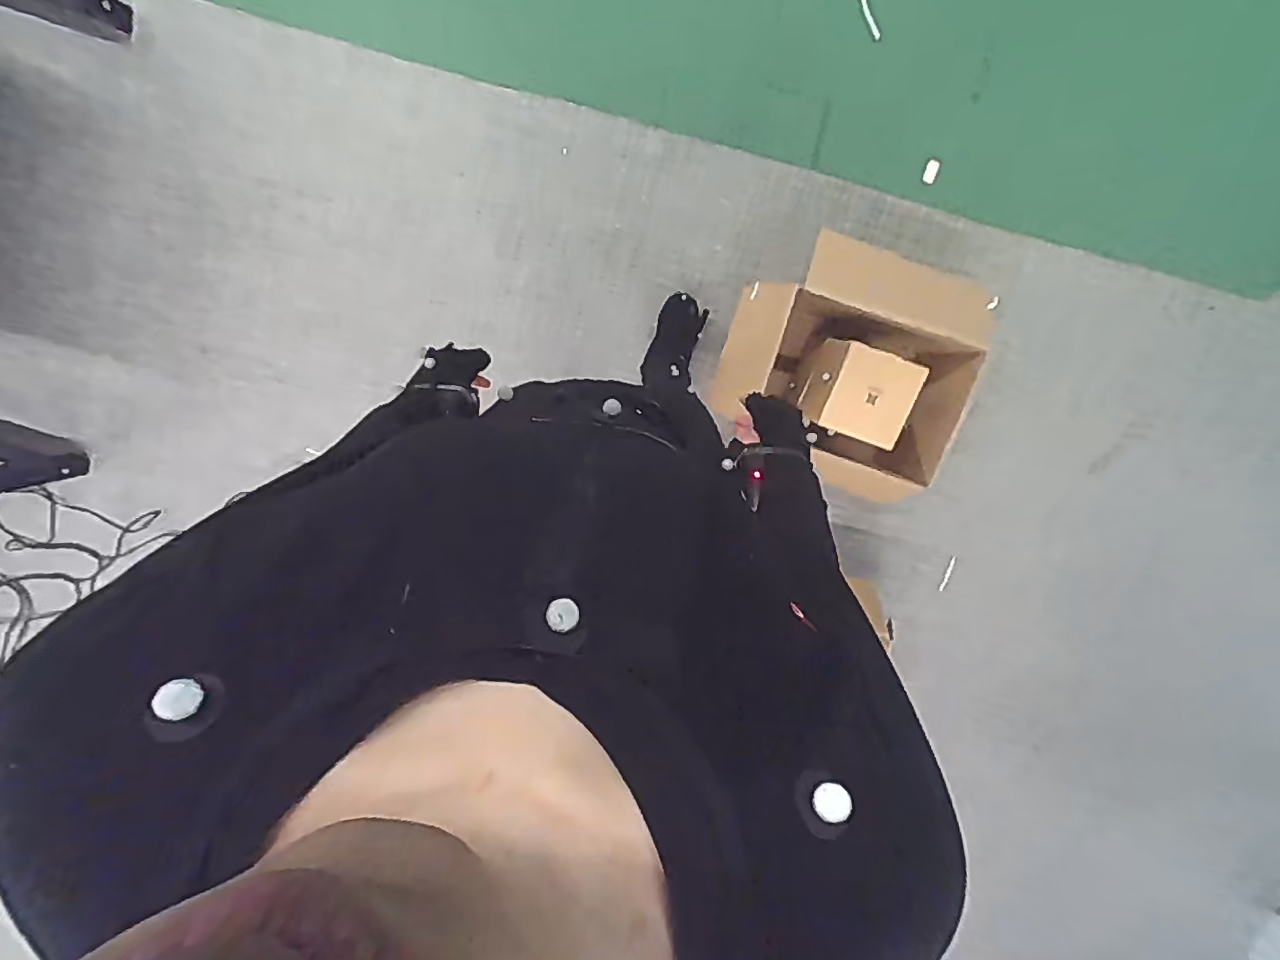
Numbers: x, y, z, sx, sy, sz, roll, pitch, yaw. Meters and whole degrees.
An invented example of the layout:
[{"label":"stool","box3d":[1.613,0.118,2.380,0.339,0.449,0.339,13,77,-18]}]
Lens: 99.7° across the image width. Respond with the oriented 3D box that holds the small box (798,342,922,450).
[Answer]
[{"label":"small box","box3d":[0.459,-0.185,1.162,0.168,0.176,0.179,18,103,-4]}]
